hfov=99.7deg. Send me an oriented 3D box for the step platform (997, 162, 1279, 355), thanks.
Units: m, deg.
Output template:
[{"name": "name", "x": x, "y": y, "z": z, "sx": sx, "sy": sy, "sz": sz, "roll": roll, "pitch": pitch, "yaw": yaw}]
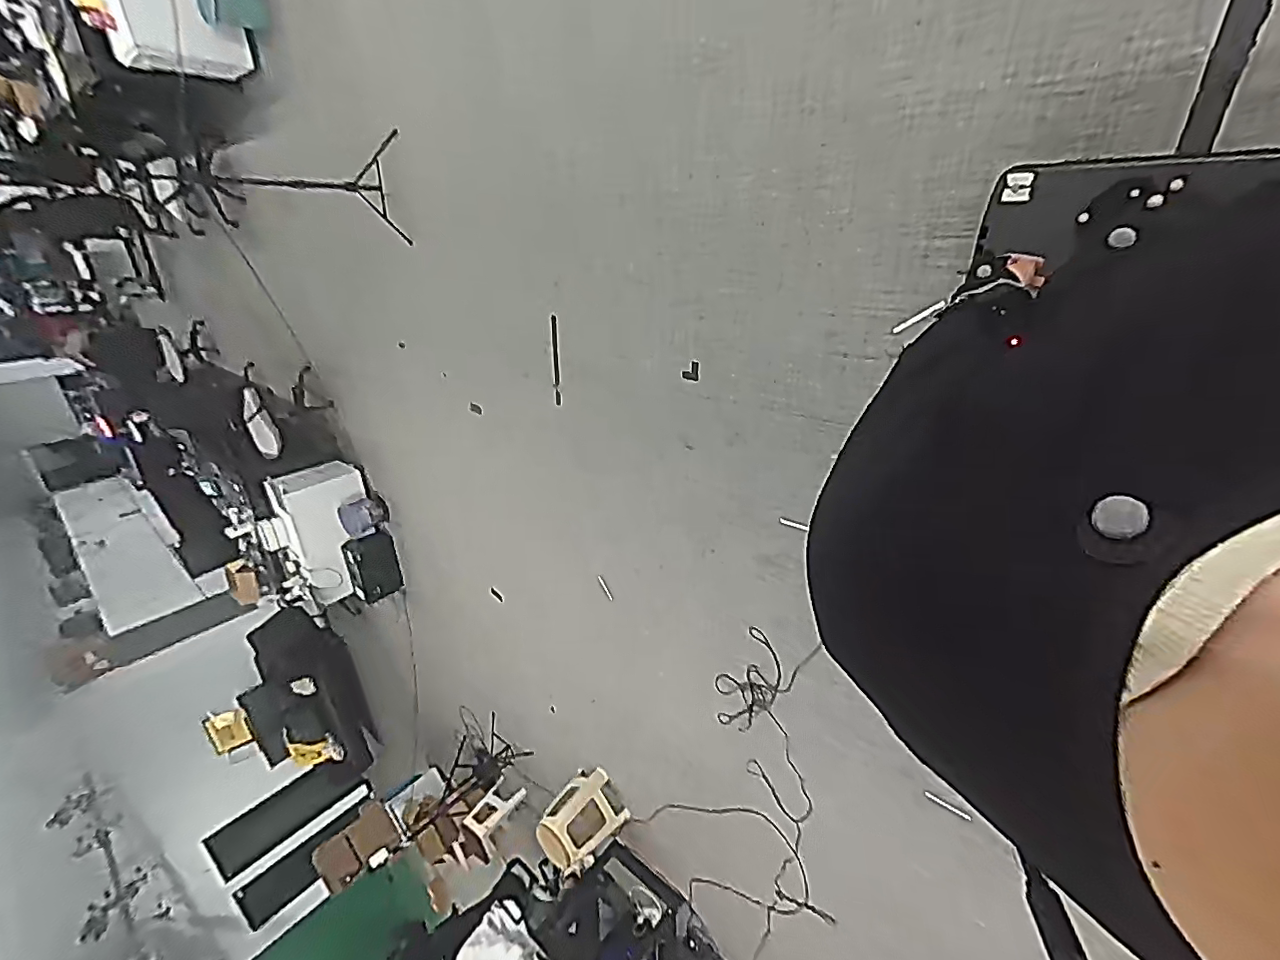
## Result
[{"name": "step platform", "x": 1.050, "y": -0.396, "z": 0.960, "sx": 0.684, "sy": 0.204, "sz": 0.286, "roll": 24, "pitch": 123, "yaw": 34}]
